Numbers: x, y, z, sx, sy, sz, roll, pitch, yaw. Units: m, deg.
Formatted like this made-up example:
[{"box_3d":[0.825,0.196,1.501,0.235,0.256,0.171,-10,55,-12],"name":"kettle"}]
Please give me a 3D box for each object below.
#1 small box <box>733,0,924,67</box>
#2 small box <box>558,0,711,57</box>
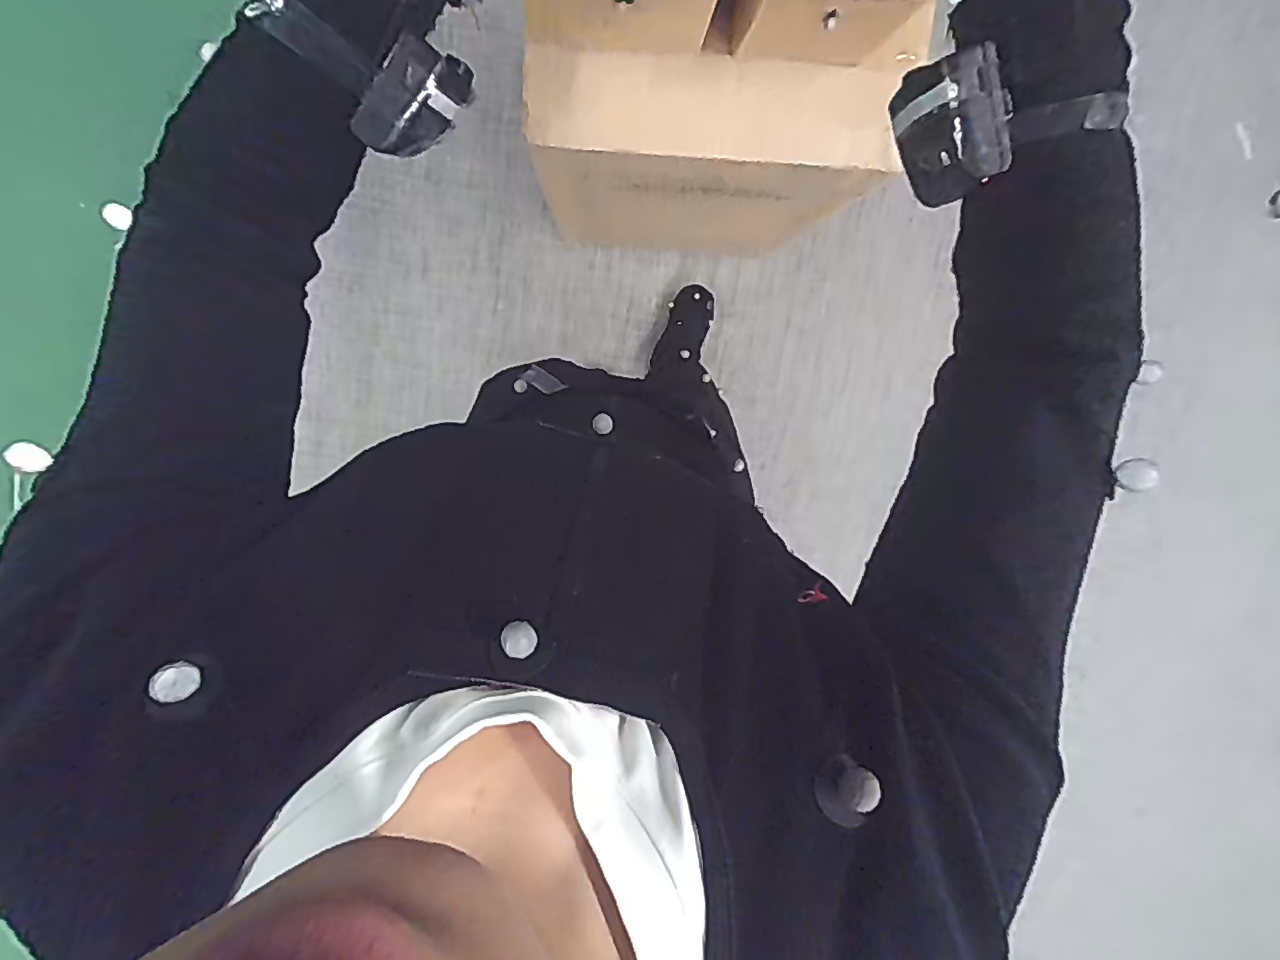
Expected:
[{"box_3d":[0.209,-0.598,0.612,0.179,0.176,0.168,-1,109,-4],"name":"small box"},{"box_3d":[-0.004,-0.602,0.598,0.179,0.176,0.168,1,108,-4],"name":"small box"}]
